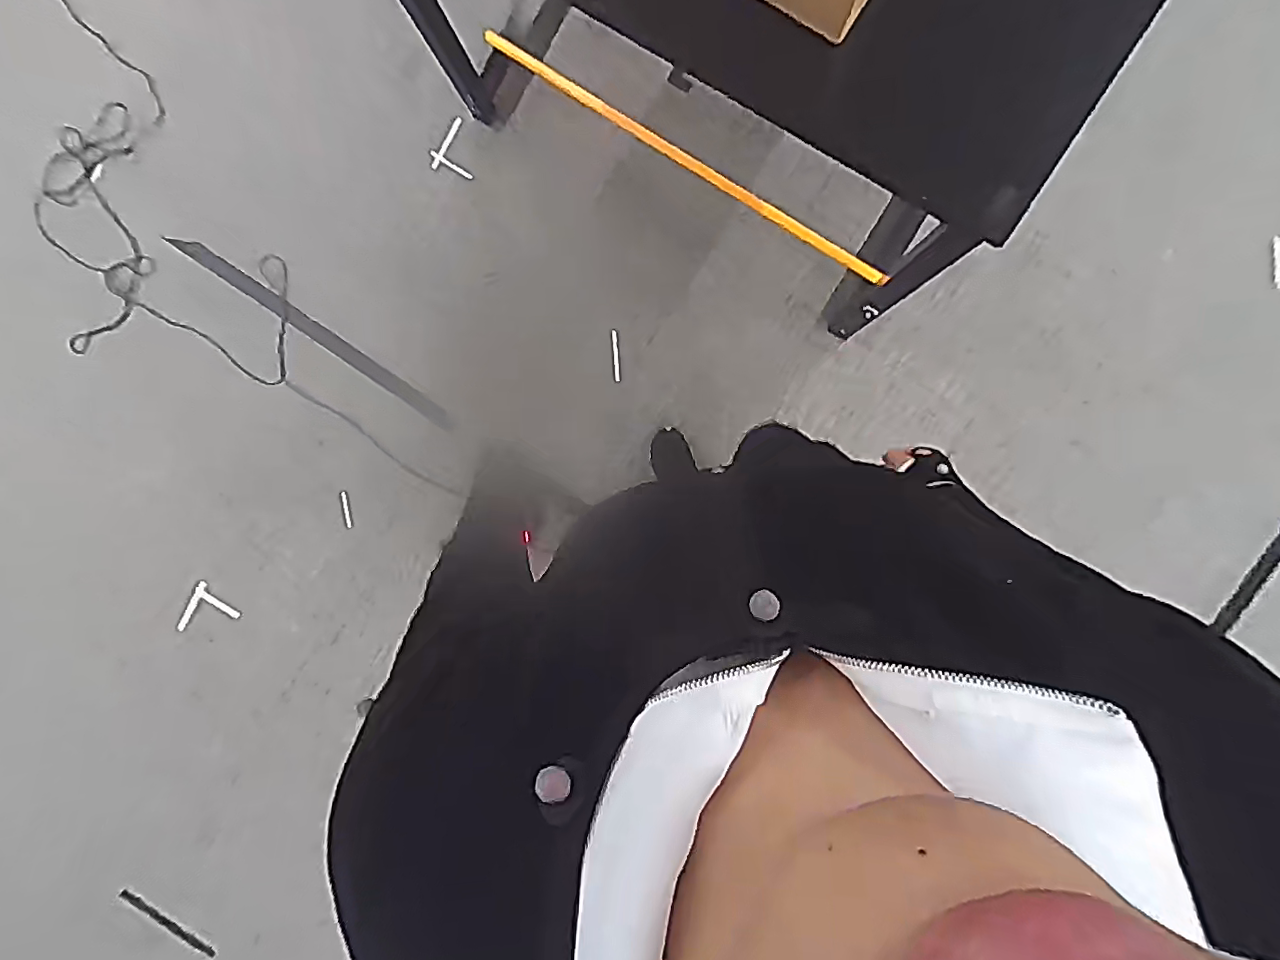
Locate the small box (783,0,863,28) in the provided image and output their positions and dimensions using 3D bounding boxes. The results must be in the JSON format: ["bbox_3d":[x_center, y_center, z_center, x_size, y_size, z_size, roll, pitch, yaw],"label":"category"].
[{"bbox_3d":[0.226,-0.687,0.623,0.179,0.176,0.168,33,95,1],"label":"small box"}]
